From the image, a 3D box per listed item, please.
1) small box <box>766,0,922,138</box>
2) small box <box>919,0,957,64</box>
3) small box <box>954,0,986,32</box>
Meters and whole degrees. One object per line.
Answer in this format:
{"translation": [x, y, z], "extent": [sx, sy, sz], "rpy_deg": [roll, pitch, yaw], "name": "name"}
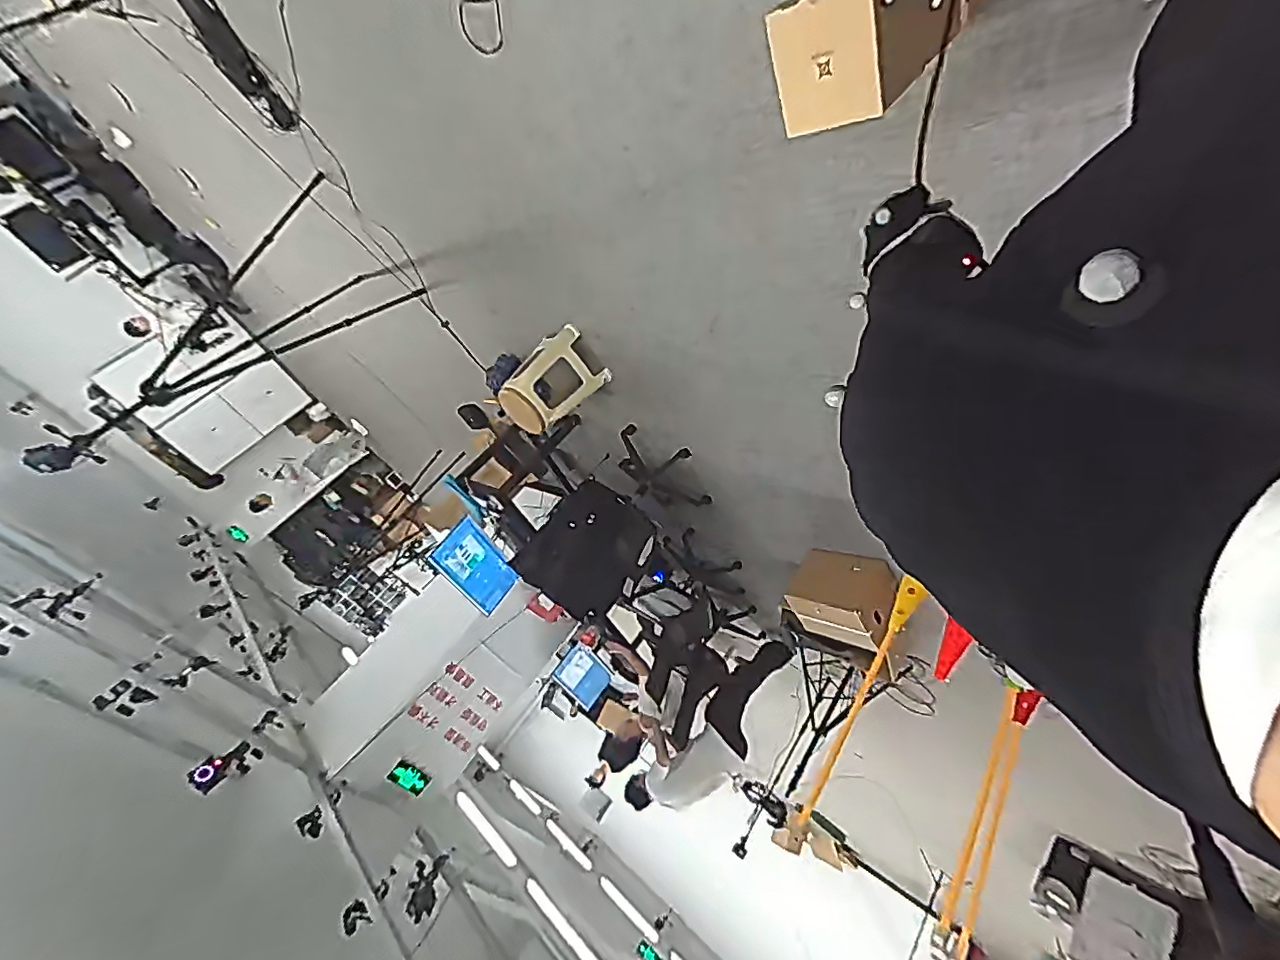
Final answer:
{"translation": [0.330, -0.685, 0.856], "extent": [0.168, 0.176, 0.179], "rpy_deg": [16, 145, 43], "name": "small box"}
{"translation": [0.422, -0.804, 0.918], "extent": [0.168, 0.176, 0.179], "rpy_deg": [16, 146, 42], "name": "small box"}
{"translation": [0.524, -0.917, 0.982], "extent": [0.179, 0.176, 0.168], "rpy_deg": [15, 145, 43], "name": "small box"}
